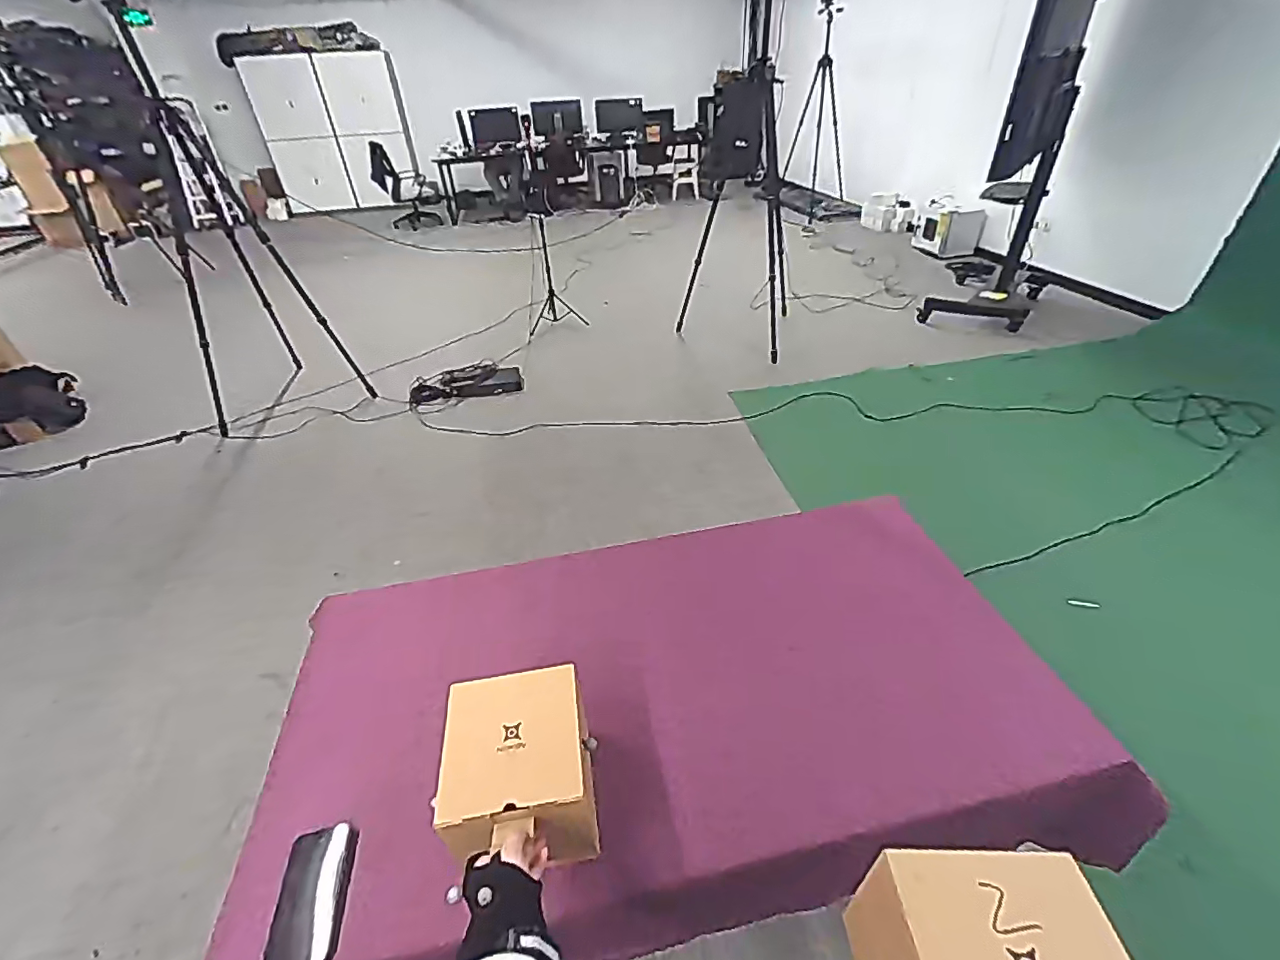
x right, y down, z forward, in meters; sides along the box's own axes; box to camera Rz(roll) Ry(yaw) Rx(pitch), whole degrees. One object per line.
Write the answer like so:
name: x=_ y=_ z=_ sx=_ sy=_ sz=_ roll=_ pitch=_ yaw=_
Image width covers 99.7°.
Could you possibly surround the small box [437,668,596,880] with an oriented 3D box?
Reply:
small box: x=-0.149 y=0.377 z=0.701 sx=0.168 sy=0.176 sz=0.179 roll=-7 pitch=37 yaw=-6
